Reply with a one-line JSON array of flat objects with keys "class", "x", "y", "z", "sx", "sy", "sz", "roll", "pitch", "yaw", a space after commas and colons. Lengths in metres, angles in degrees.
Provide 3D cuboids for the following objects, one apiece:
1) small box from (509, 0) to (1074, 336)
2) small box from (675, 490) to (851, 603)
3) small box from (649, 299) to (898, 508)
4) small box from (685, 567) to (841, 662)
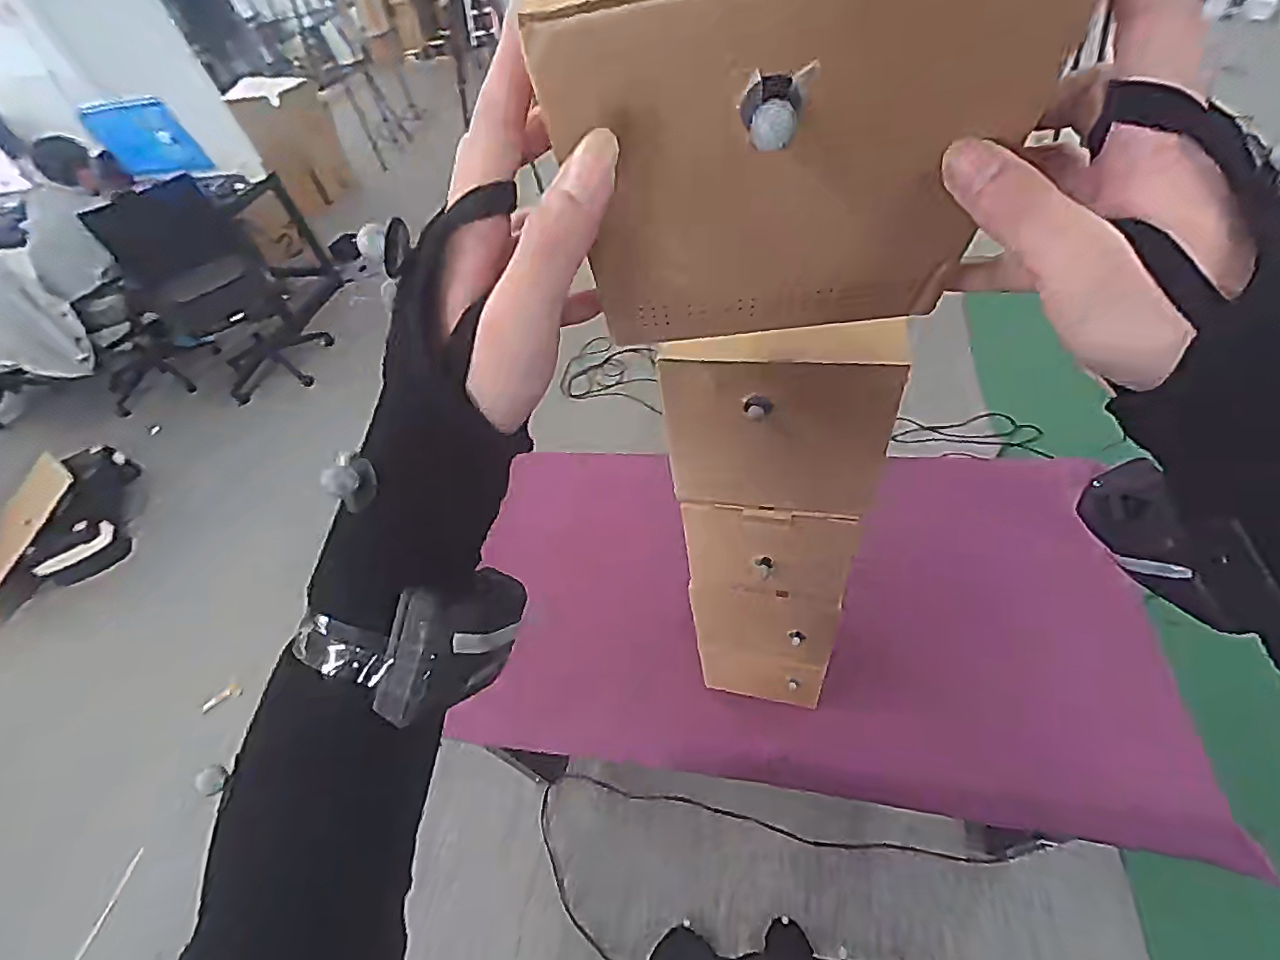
[{"class": "small box", "x": 0.057, "y": -0.191, "z": 0.262, "sx": 0.179, "sy": 0.176, "sz": 0.168, "roll": -4, "pitch": 67, "yaw": 9}, {"class": "small box", "x": 0.145, "y": 0.019, "z": 0.611, "sx": 0.168, "sy": 0.176, "sz": 0.179, "roll": 5, "pitch": 52, "yaw": 16}, {"class": "small box", "x": 0.119, "y": -0.090, "z": 0.489, "sx": 0.179, "sy": 0.176, "sz": 0.168, "roll": 4, "pitch": 50, "yaw": 14}, {"class": "small box", "x": 0.170, "y": 0.128, "z": 0.729, "sx": 0.179, "sy": 0.176, "sz": 0.168, "roll": 5, "pitch": 51, "yaw": 17}]
